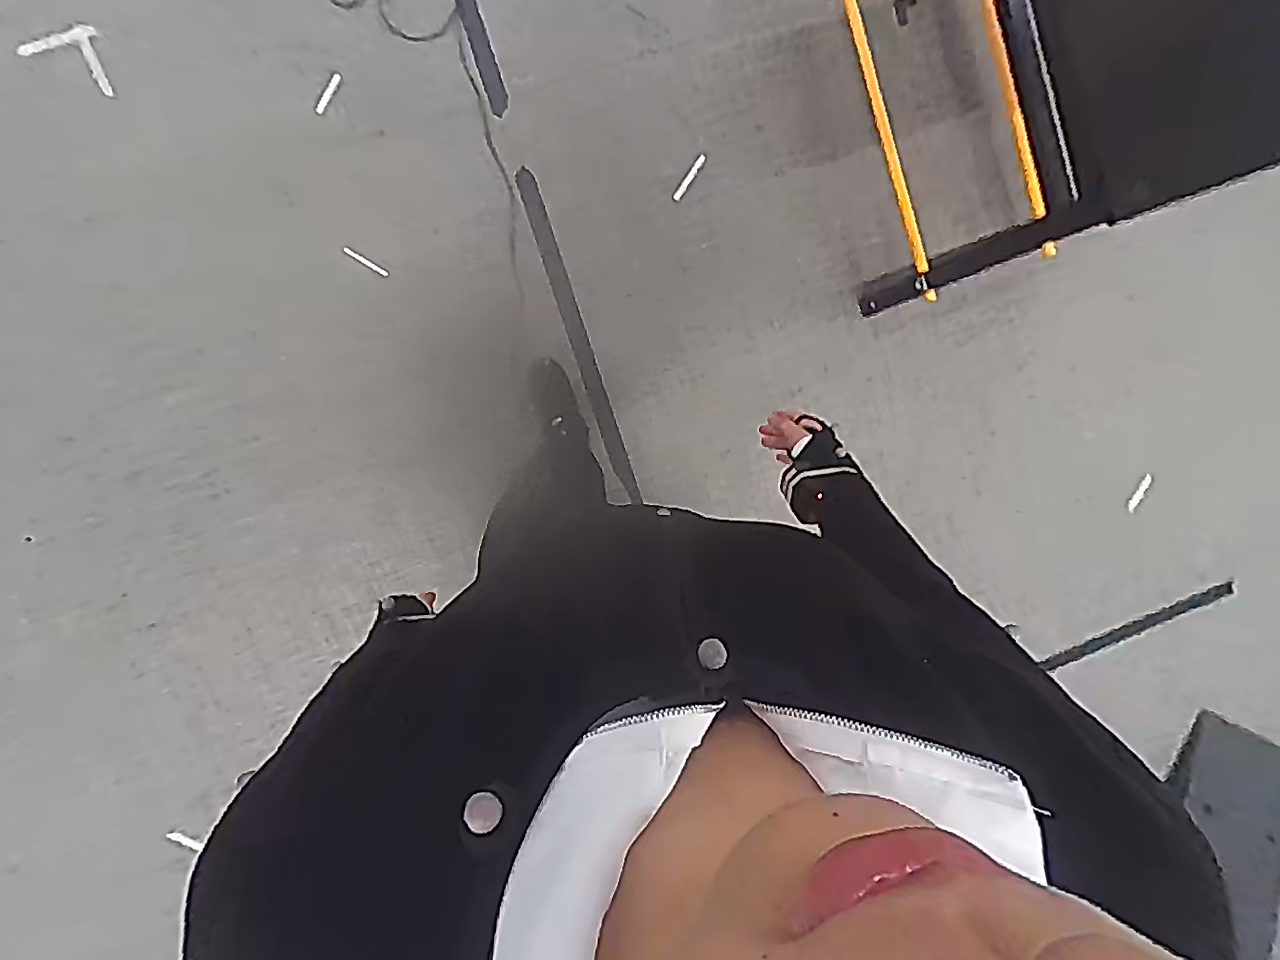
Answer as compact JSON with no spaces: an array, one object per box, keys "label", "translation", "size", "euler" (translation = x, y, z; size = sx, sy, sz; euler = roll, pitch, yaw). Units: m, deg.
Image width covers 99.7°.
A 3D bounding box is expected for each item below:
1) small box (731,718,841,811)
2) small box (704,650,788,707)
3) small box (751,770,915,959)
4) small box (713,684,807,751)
[{"label":"small box","translation":[0.304,0.619,1.080],"size":[0.168,0.176,0.179],"euler":[-23,97,-6]},{"label":"small box","translation":[0.286,0.577,1.407],"size":[0.168,0.176,0.179],"euler":[-27,96,-5]},{"label":"small box","translation":[0.316,0.637,0.916],"size":[0.179,0.176,0.168],"euler":[-26,98,-4]},{"label":"small box","translation":[0.290,0.598,1.243],"size":[0.168,0.176,0.179],"euler":[-28,97,-4]}]
